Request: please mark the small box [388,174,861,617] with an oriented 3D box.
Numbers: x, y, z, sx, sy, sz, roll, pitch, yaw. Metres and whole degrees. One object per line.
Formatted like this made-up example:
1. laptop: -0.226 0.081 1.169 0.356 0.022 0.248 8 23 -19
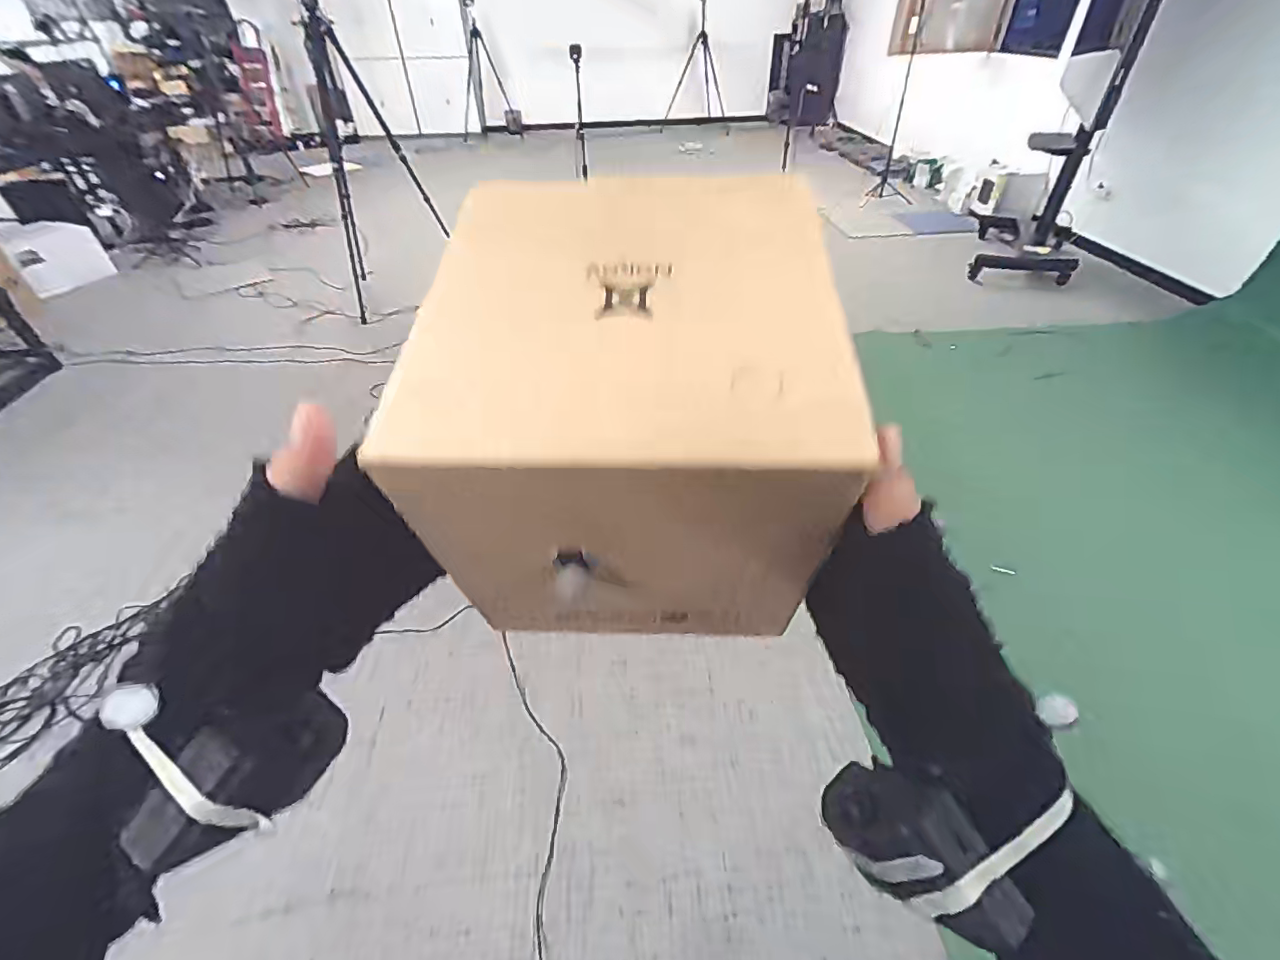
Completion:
1. small box: 0.000 -0.035 0.293 0.168 0.176 0.179 0 55 3
